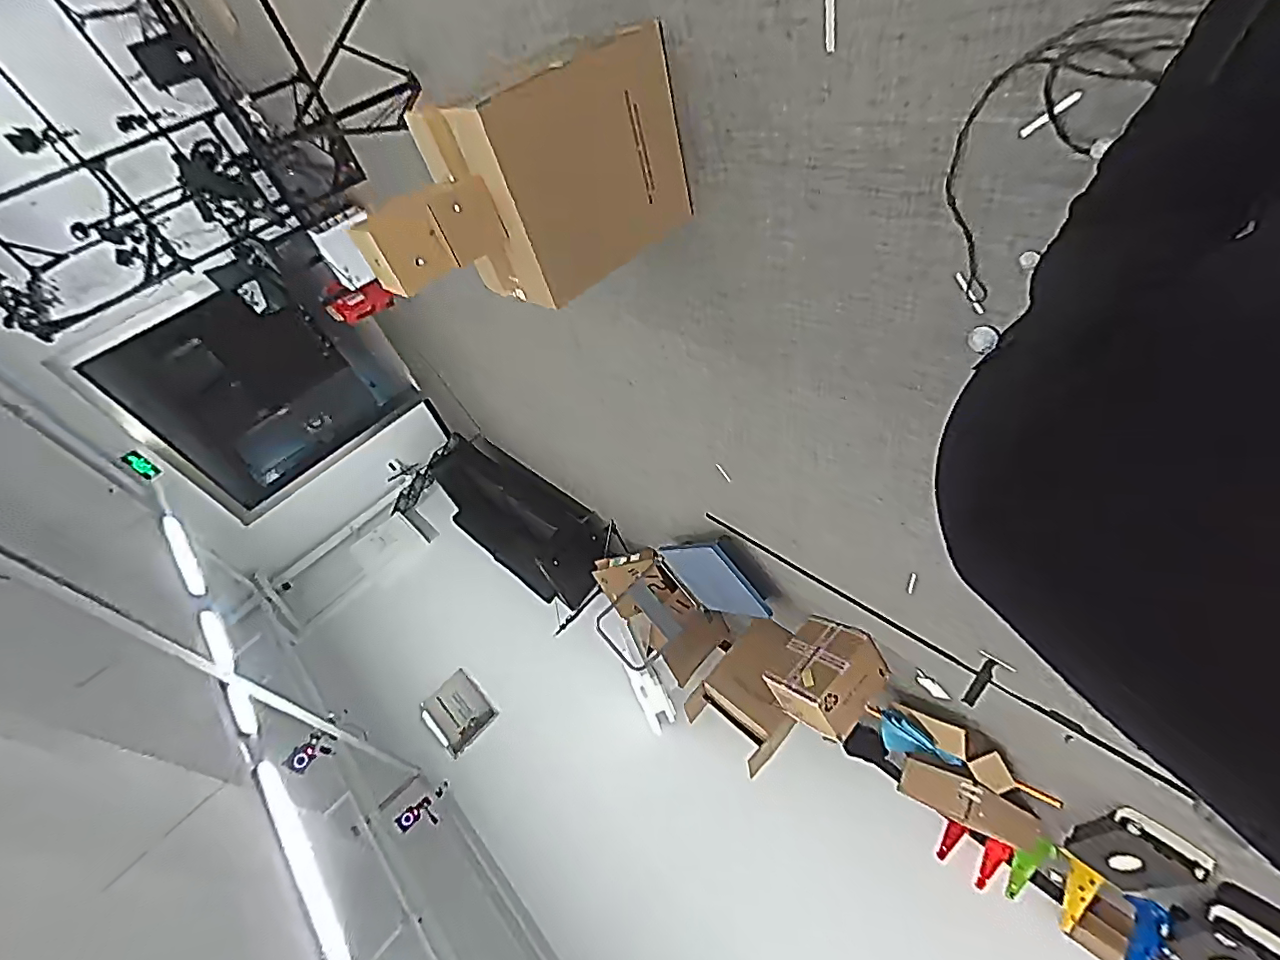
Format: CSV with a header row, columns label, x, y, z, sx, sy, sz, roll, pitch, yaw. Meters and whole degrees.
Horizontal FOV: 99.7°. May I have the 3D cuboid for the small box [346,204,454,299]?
label,x,y,z,sx,sy,sz,roll,pitch,yaw
small box,-0.610,-0.594,1.397,0.179,0.176,0.168,29,153,40
